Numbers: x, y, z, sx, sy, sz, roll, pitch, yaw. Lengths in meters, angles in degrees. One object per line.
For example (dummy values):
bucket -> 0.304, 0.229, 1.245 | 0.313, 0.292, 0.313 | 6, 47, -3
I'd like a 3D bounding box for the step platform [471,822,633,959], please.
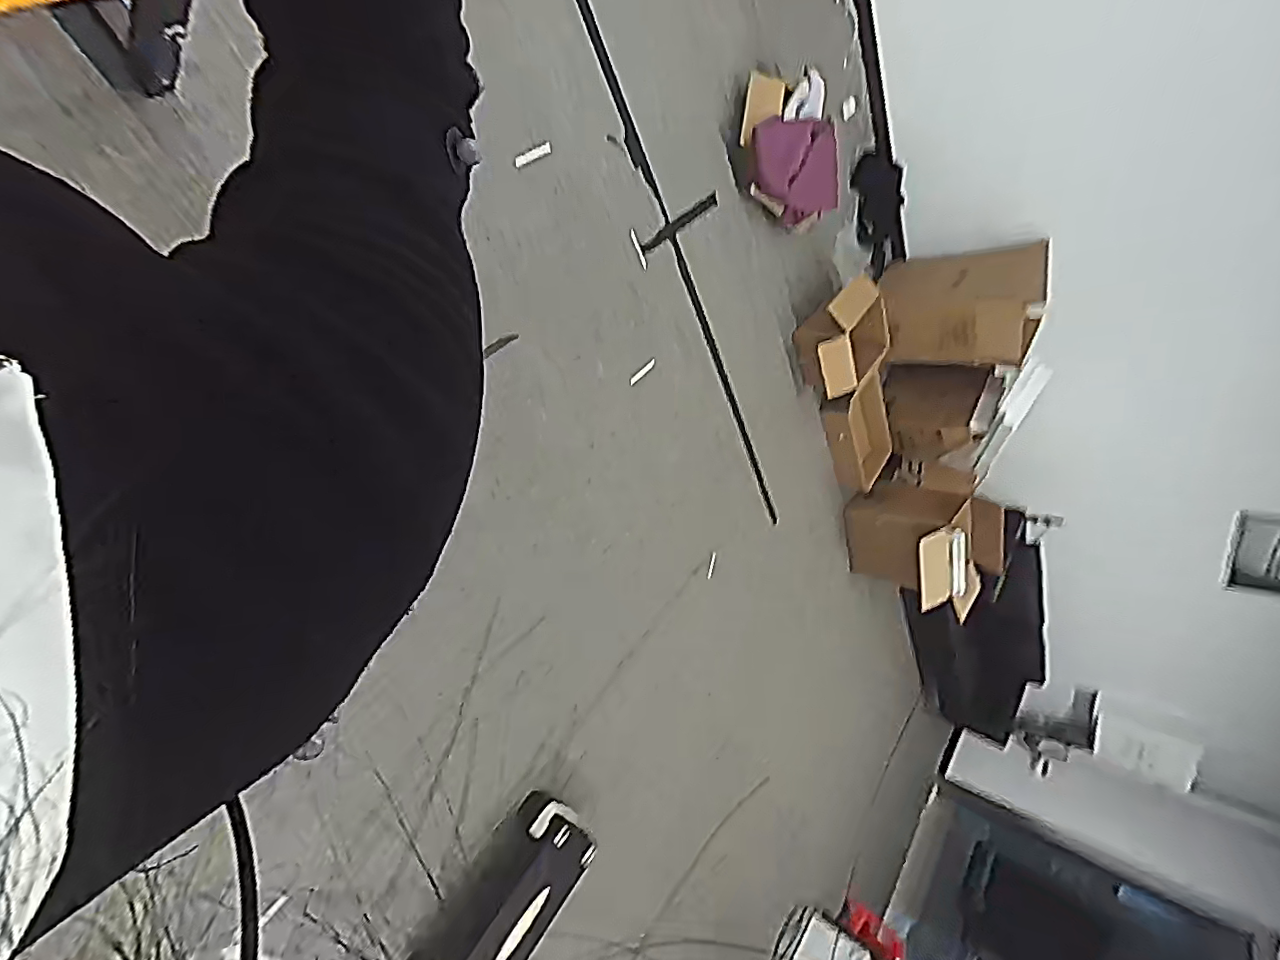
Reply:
step platform -> -0.322, 1.465, 1.690 | 0.684, 0.204, 0.286 | -48, 128, -27
